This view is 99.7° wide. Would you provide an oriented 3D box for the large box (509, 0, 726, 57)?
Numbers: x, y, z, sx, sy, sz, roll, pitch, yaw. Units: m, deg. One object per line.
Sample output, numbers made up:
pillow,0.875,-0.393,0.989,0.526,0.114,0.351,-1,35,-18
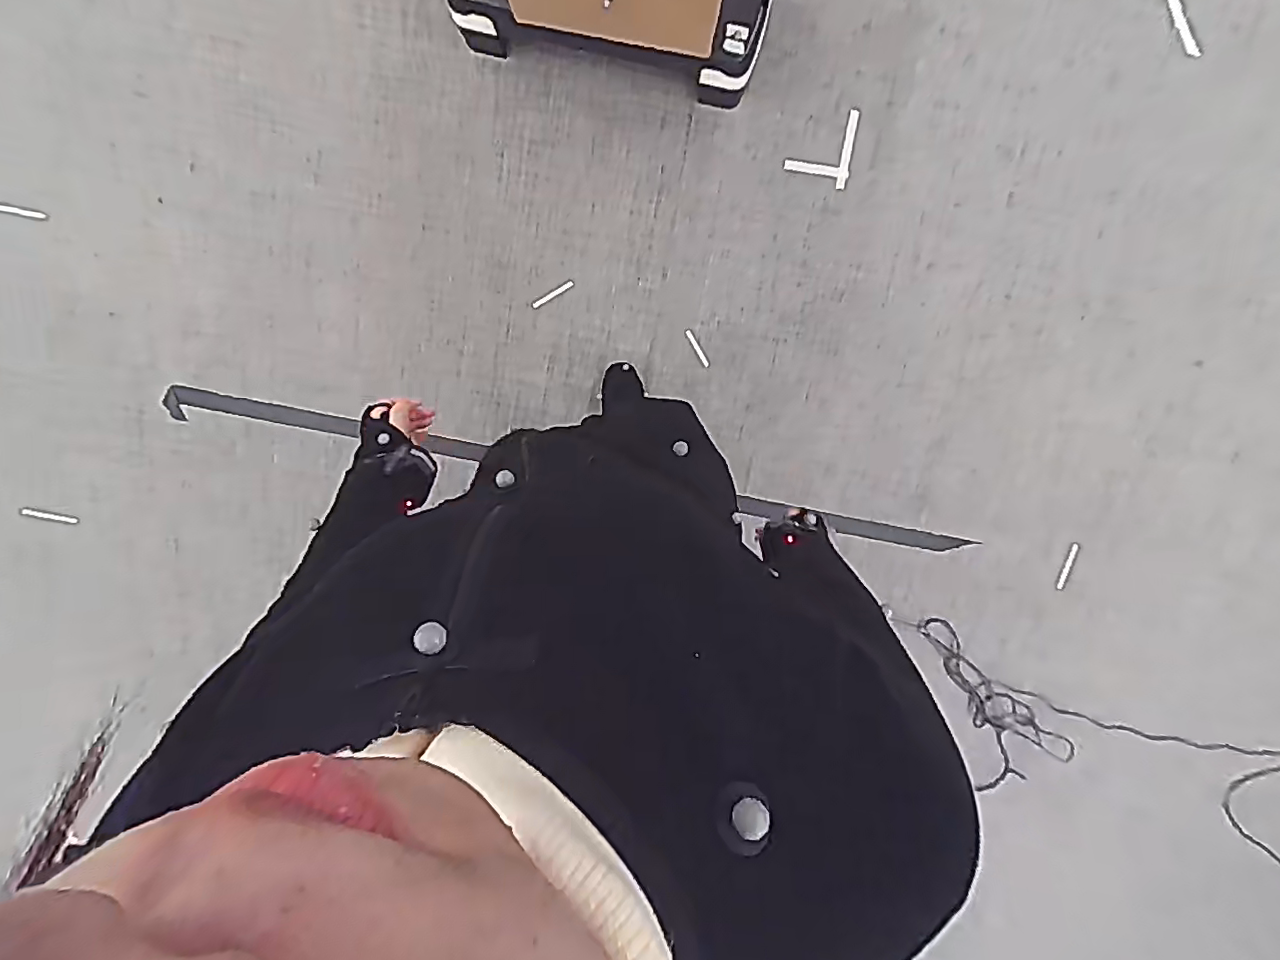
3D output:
large box,-0.030,-0.996,0.921,0.408,0.320,0.320,10,102,-1
